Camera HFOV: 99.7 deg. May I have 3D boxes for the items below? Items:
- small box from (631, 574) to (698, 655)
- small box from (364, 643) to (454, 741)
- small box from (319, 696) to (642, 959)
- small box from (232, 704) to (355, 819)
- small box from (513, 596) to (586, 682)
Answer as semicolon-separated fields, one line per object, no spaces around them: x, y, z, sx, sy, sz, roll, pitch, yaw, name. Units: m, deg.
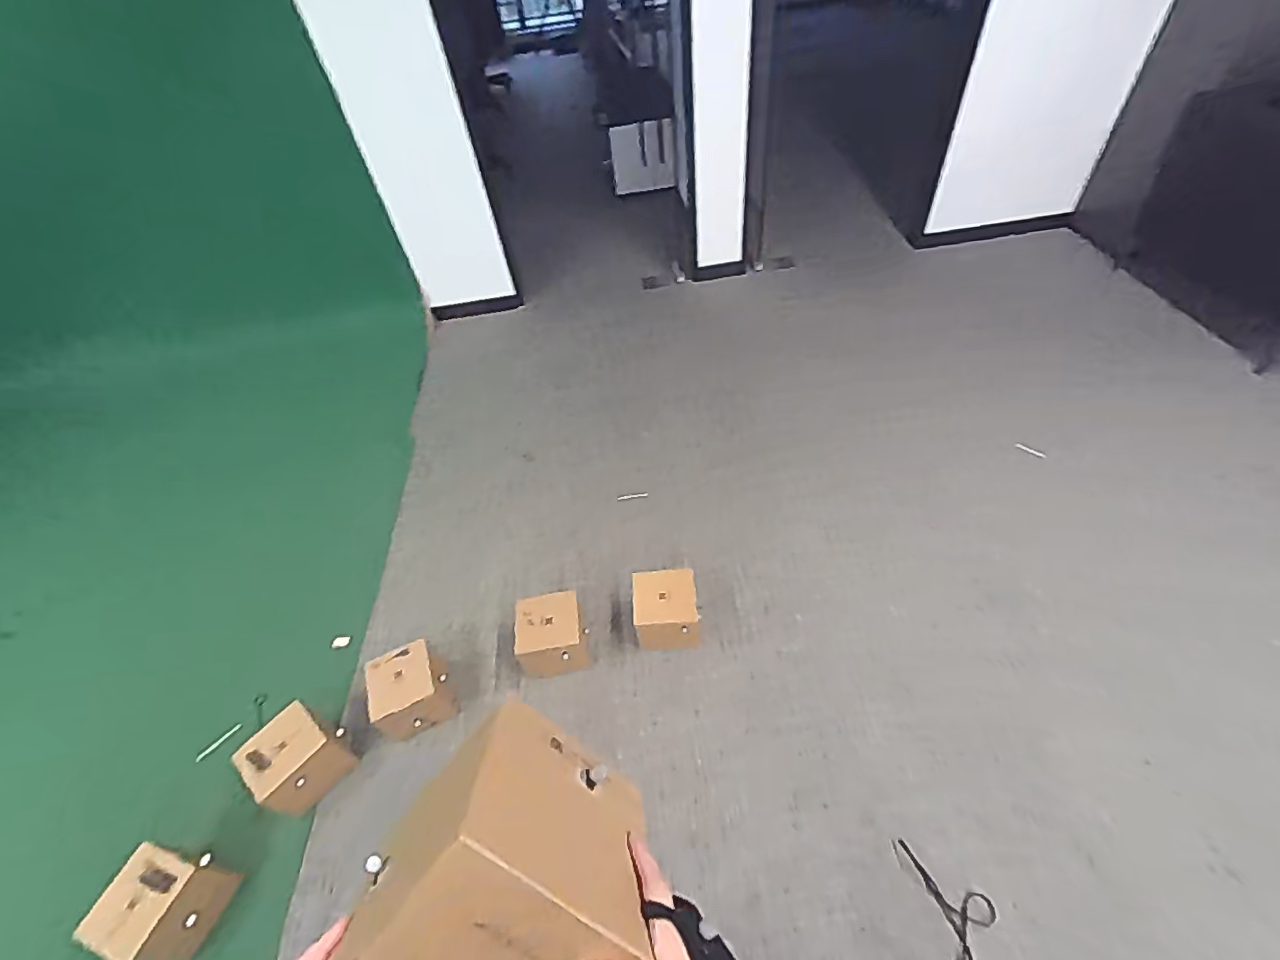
0.071;0.387;1.544;0.179;0.176;0.168;-5;48;2;small box
-0.620;0.580;1.462;0.168;0.176;0.179;-22;49;-11;small box
-0.112;0.323;0.440;0.179;0.168;0.176;-48;8;6;small box
-0.870;0.718;1.371;0.168;0.176;0.179;29;56;29;small box
-0.249;0.451;1.526;0.179;0.176;0.168;-9;47;-1;small box
